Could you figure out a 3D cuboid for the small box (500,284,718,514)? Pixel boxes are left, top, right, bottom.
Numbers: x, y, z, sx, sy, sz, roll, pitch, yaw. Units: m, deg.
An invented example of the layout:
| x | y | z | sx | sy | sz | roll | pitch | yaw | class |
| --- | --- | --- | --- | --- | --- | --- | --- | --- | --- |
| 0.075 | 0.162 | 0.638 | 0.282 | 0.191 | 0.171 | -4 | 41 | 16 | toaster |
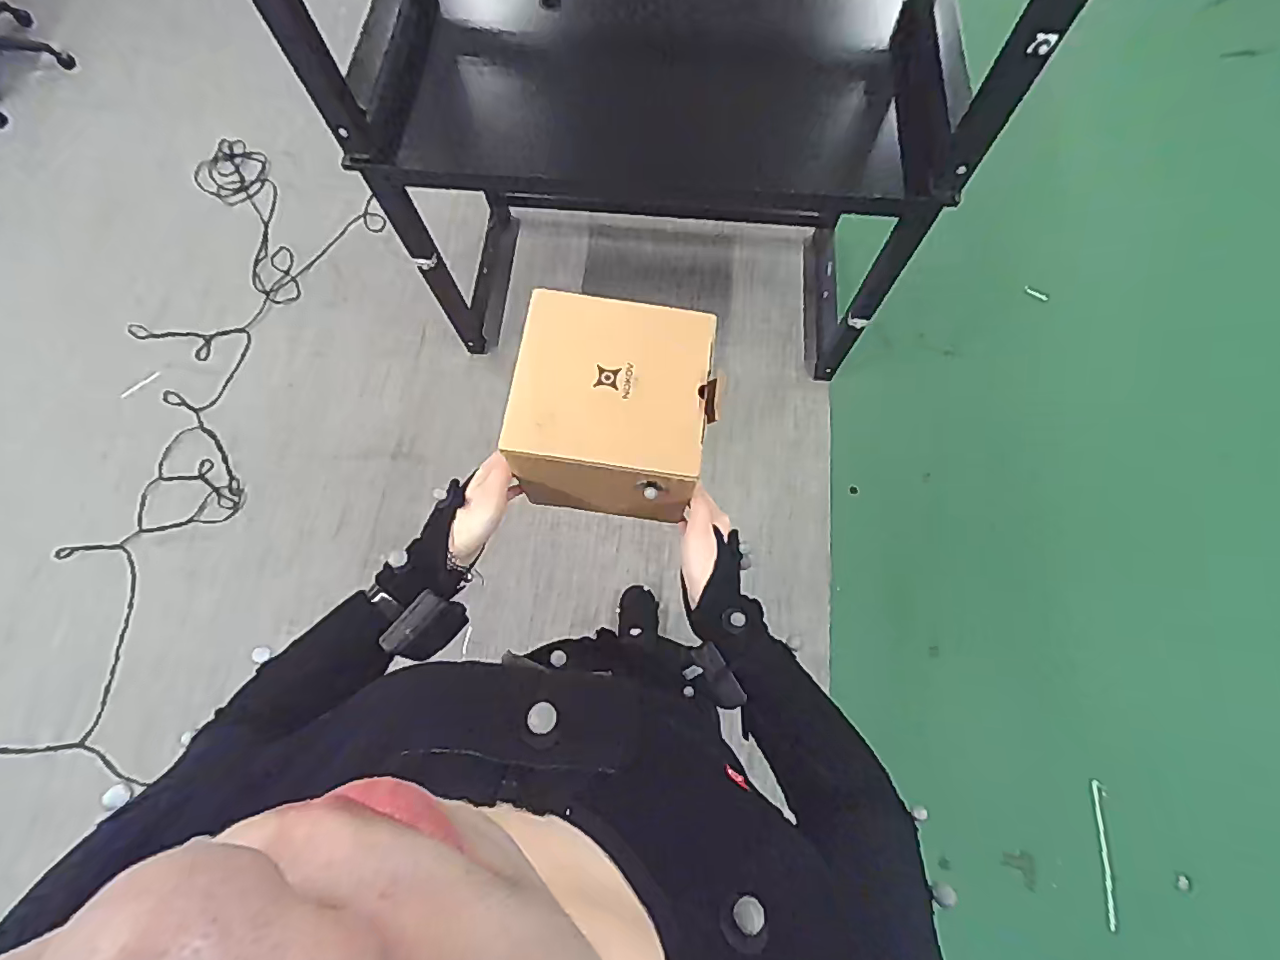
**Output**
| x | y | z | sx | sy | sz | roll | pitch | yaw | class |
| --- | --- | --- | --- | --- | --- | --- | --- | --- | --- |
| -0.027 | -0.071 | 0.557 | 0.179 | 0.176 | 0.168 | 8 | 71 | -1 | small box |
